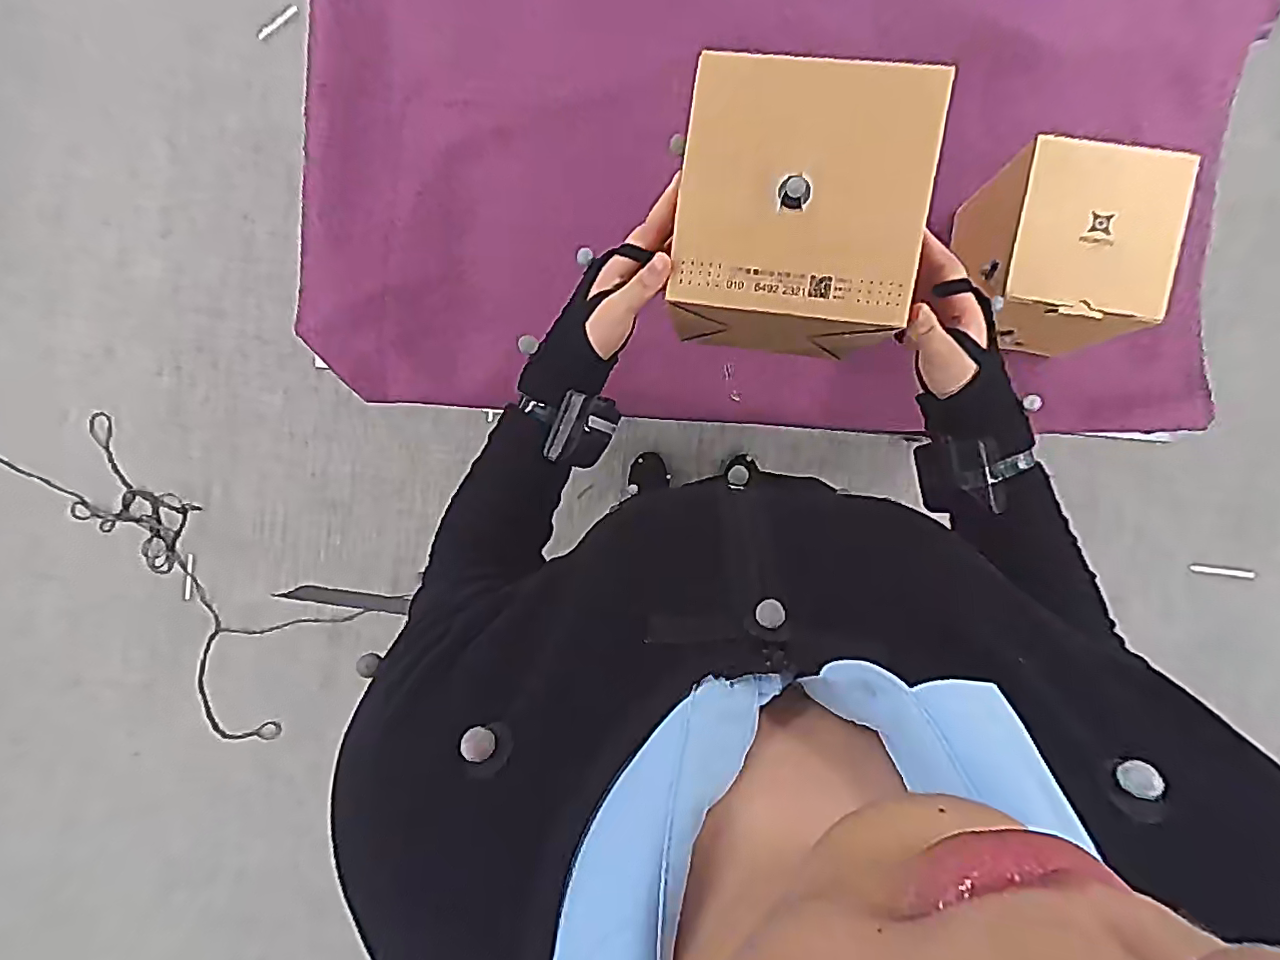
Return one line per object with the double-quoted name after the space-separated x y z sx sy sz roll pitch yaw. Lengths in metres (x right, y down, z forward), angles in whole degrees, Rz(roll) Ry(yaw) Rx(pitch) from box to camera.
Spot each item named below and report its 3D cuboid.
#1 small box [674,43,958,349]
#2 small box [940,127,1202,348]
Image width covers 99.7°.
0.123 -0.206 0.441 0.168 0.179 0.176 10 98 6 "small box"
0.487 -0.271 0.642 0.168 0.176 0.179 10 92 4 "small box"
